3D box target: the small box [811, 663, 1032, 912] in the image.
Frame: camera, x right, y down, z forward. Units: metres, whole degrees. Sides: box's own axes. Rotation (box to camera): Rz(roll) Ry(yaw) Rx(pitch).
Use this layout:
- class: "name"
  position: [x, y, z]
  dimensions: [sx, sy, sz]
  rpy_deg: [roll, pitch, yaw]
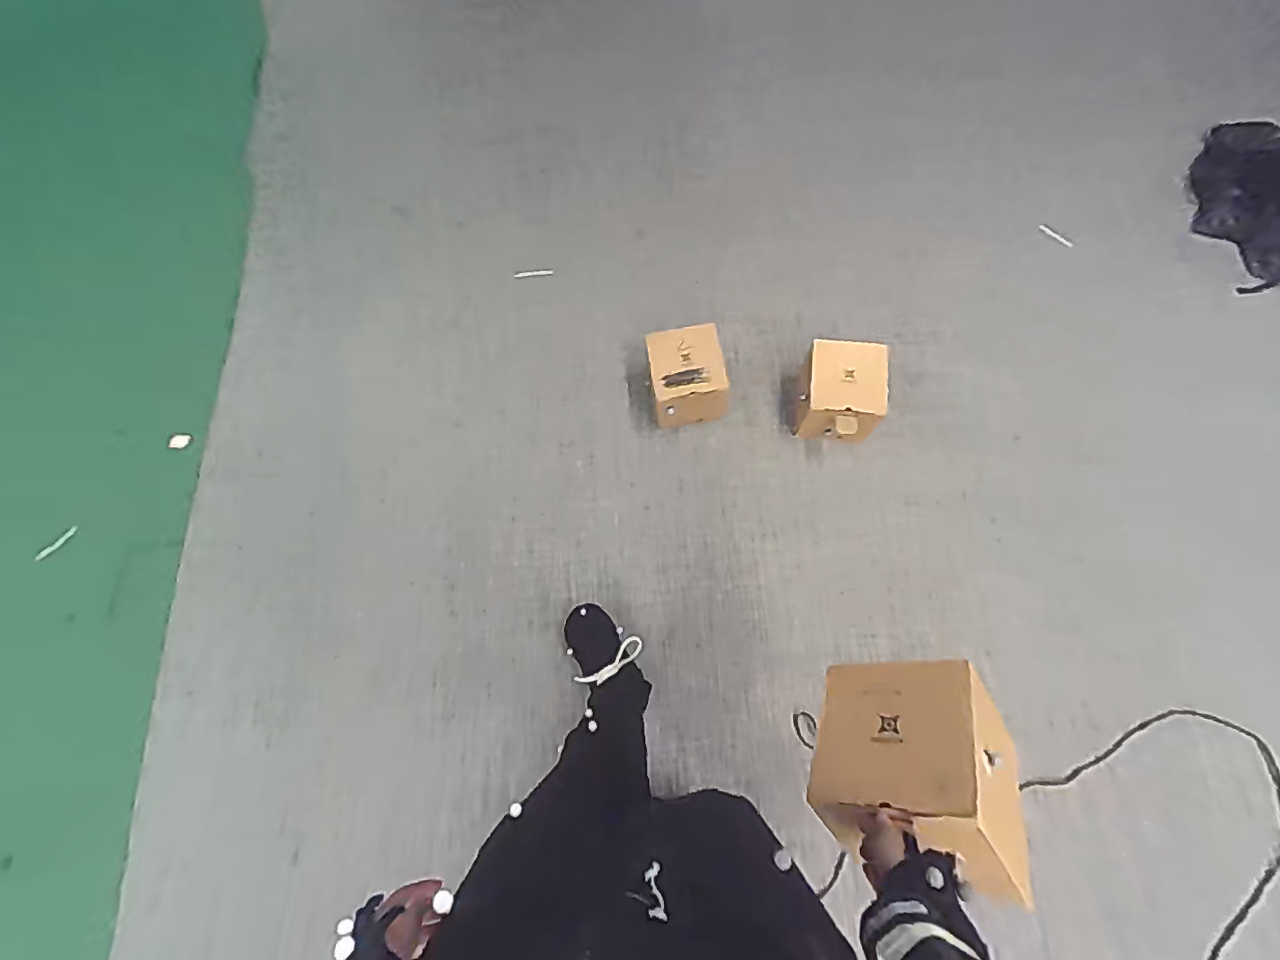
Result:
- class: "small box"
  position: [0.314, 0.331, 0.603]
  dimensions: [0.168, 0.176, 0.179]
  rpy_deg: [-16, 25, 37]

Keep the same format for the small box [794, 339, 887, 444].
- class: "small box"
  position: [0.459, -0.202, 1.258]
  dimensions: [0.168, 0.176, 0.179]
  rpy_deg: [6, 73, 5]
